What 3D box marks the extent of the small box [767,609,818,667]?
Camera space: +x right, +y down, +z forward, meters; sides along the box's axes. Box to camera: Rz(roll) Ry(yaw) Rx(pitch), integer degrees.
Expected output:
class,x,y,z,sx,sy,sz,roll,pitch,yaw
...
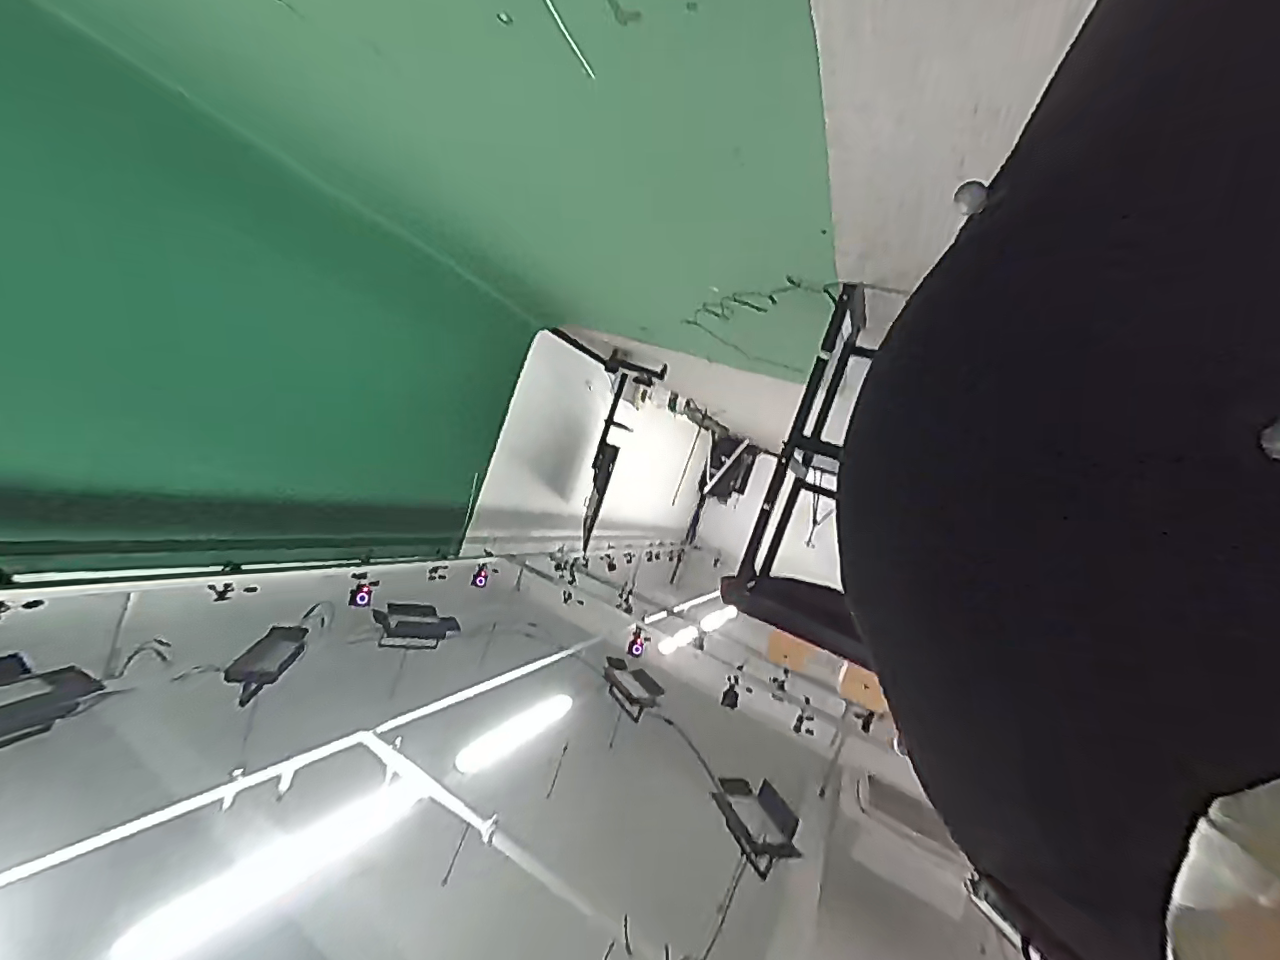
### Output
class,x,y,z,sx,sy,sz,roll,pitch,yaw
small box,0.675,0.688,2.380,0.179,0.176,0.168,20,-176,19

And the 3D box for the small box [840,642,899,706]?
class,x,y,z,sx,sy,sz,roll,pitch,yaw
small box,0.947,0.795,2.239,0.179,0.176,0.168,20,-176,20
